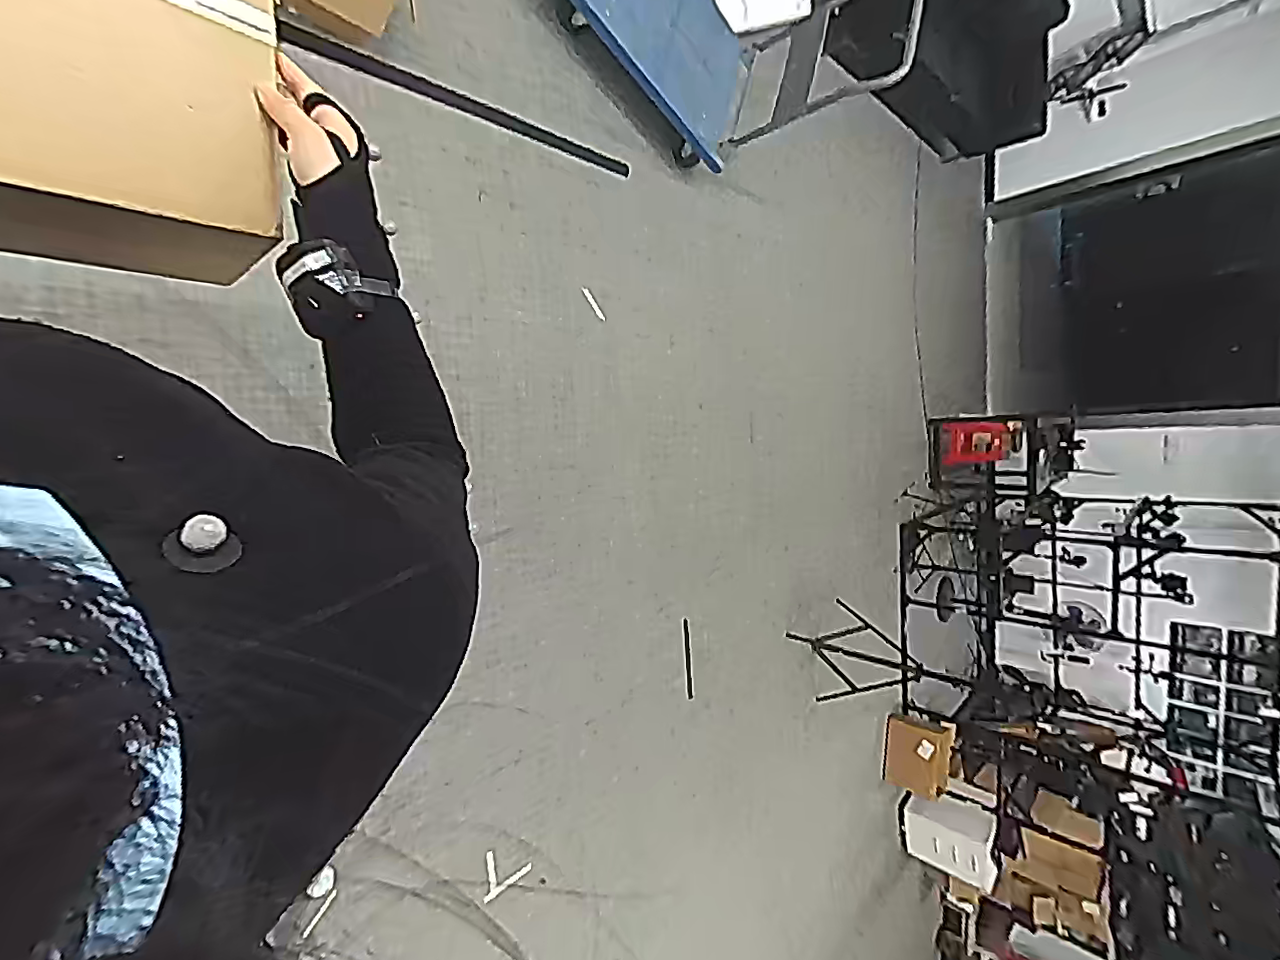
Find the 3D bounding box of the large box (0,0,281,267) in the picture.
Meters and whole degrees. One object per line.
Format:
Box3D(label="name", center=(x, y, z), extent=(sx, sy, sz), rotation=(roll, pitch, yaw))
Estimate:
Box3D(label="large box", center=(-0.550, -0.374, 0.414), extent=(0.408, 0.320, 0.320), rotation=(-6, 101, -43))
